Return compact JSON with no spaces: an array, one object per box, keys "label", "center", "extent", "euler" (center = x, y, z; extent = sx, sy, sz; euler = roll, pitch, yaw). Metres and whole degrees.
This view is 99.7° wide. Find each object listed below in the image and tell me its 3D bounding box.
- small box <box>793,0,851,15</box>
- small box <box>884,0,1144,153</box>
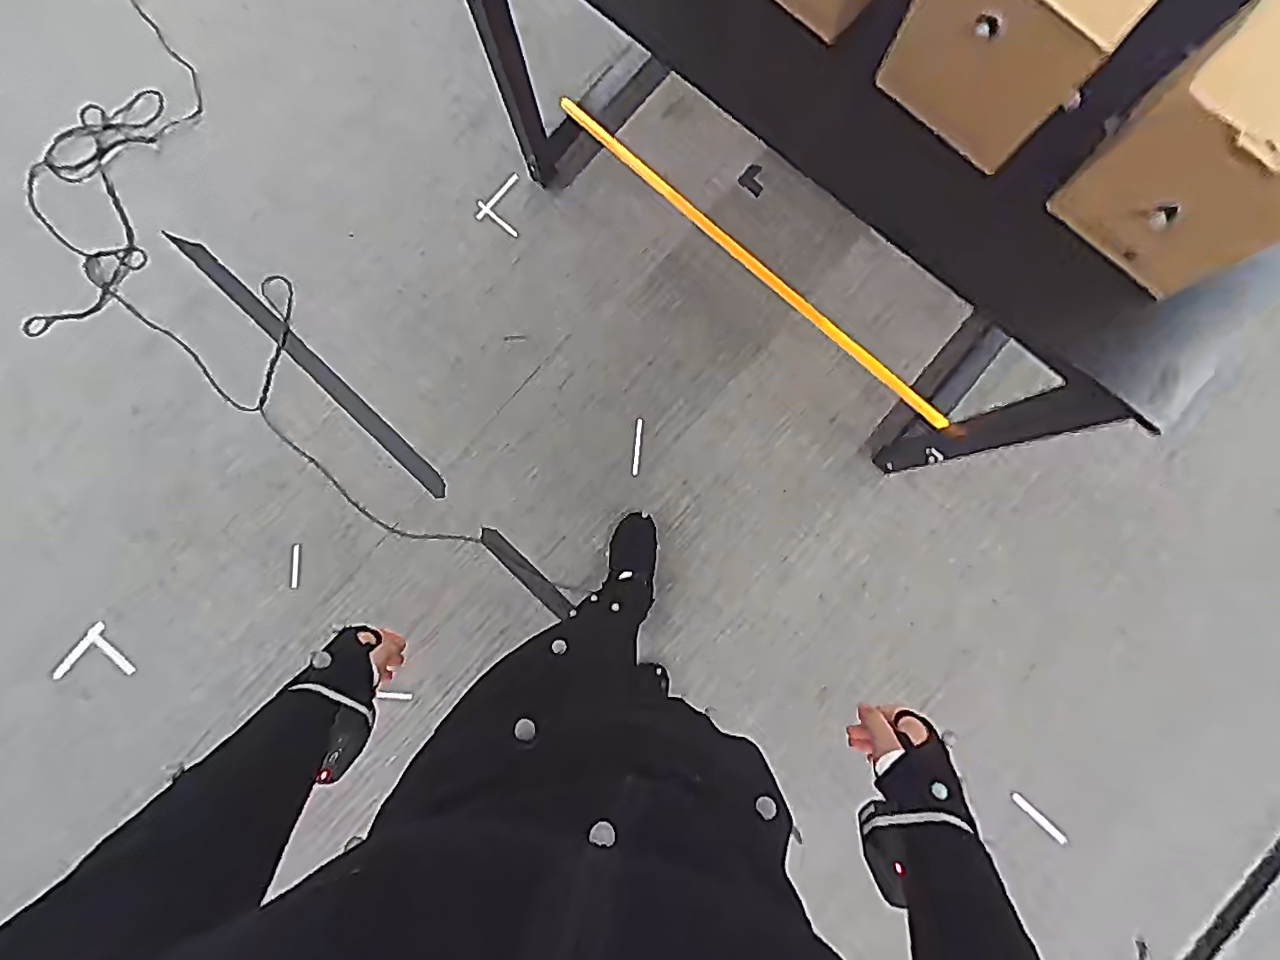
[{"label":"small box","center":[0.211,-0.646,0.560],"extent":[0.179,0.176,0.168],"euler":[43,87,4]},{"label":"small box","center":[0.387,-0.482,0.542],"extent":[0.179,0.176,0.168],"euler":[42,88,4]}]
